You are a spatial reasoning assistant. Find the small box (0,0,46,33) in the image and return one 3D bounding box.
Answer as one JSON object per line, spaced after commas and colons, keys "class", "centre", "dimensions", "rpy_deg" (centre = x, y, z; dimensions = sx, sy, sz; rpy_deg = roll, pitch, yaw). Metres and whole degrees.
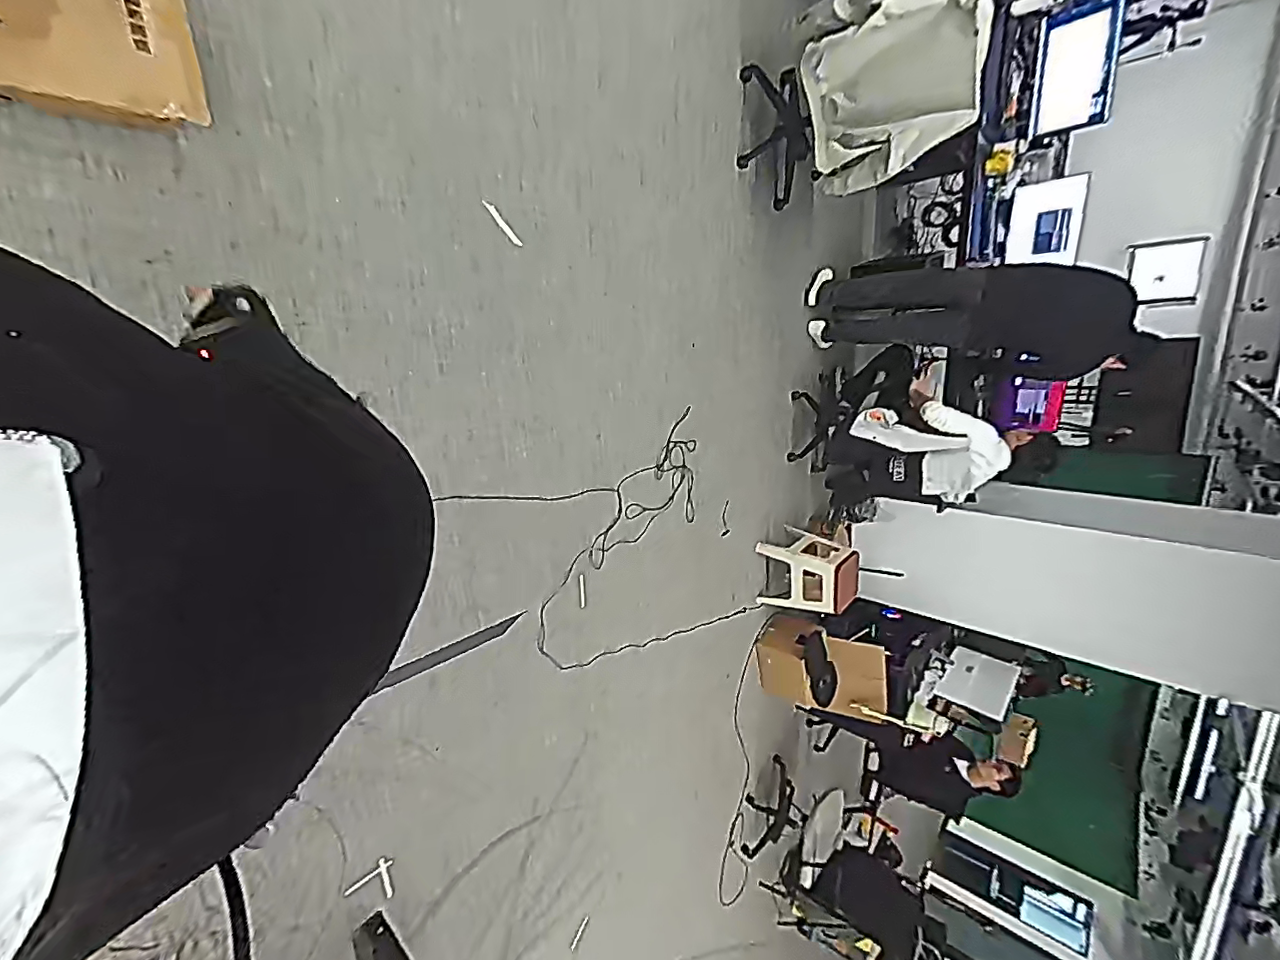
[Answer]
{"class": "small box", "centre": [-0.987, -0.793, 0.765], "dimensions": [0.168, 0.176, 0.179], "rpy_deg": [-18, 110, -45]}
